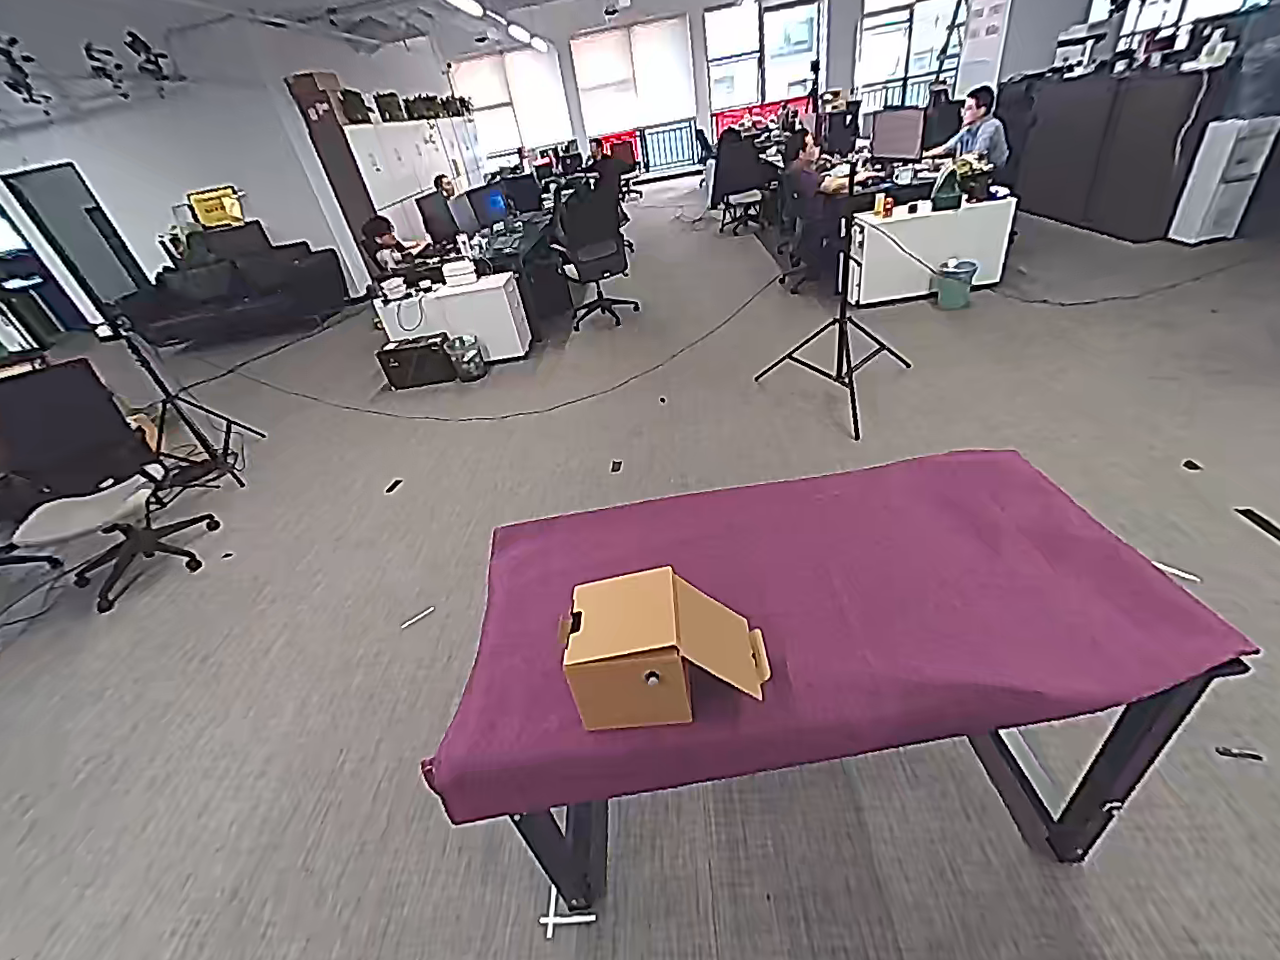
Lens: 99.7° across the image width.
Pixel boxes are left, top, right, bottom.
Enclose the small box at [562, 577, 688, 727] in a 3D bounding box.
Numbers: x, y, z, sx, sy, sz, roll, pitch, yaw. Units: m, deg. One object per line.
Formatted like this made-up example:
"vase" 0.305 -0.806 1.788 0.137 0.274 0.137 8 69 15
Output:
"small box" -0.015 0.284 0.893 0.179 0.176 0.168 -8 32 6
